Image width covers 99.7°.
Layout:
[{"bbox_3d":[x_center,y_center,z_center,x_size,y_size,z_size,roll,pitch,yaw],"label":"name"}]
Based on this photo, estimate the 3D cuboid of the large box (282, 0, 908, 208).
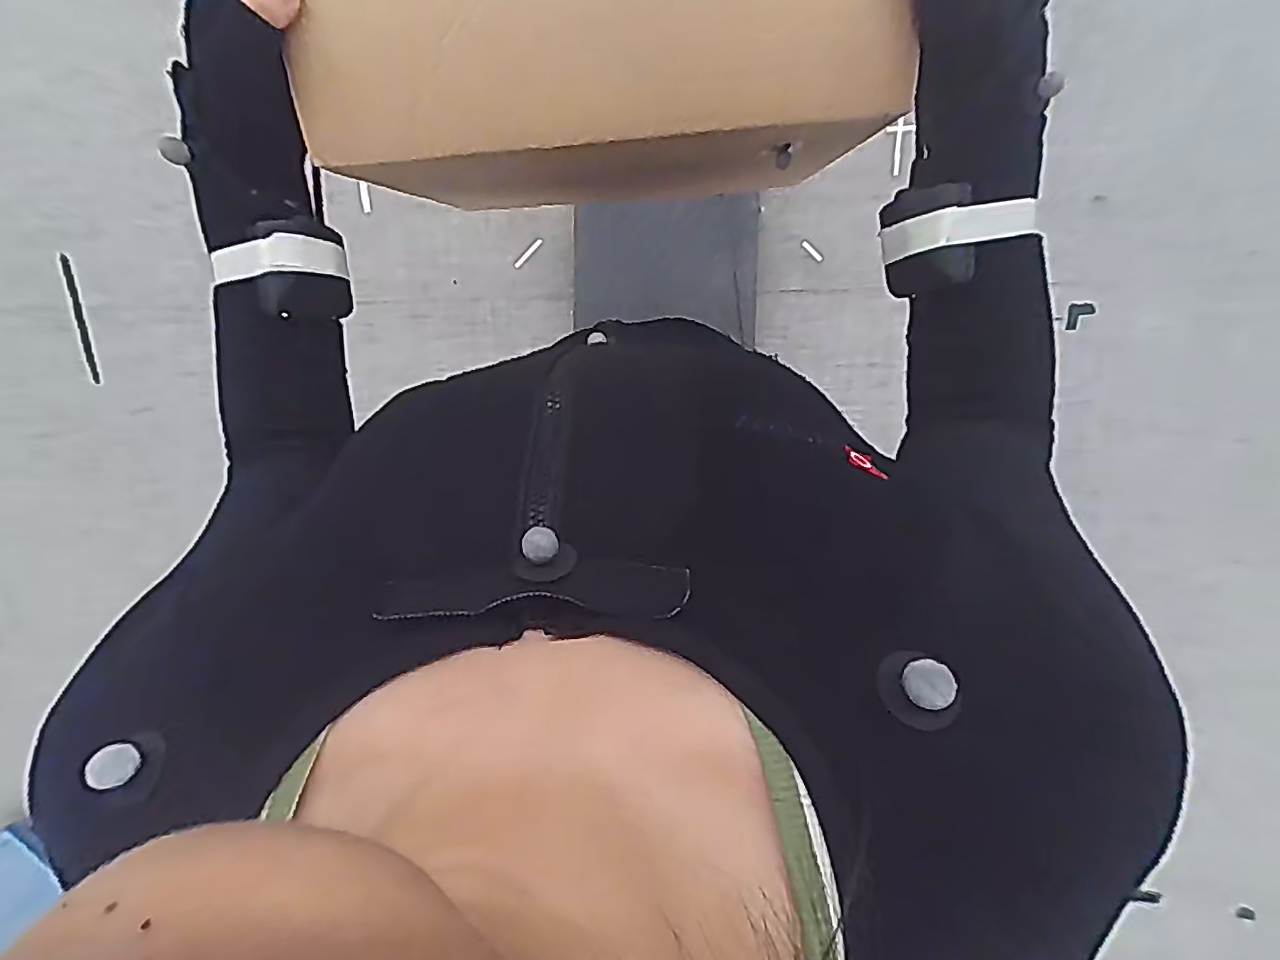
[{"bbox_3d":[-0.030,-0.427,0.456,0.408,0.320,0.320,-3,111,3],"label":"large box"}]
